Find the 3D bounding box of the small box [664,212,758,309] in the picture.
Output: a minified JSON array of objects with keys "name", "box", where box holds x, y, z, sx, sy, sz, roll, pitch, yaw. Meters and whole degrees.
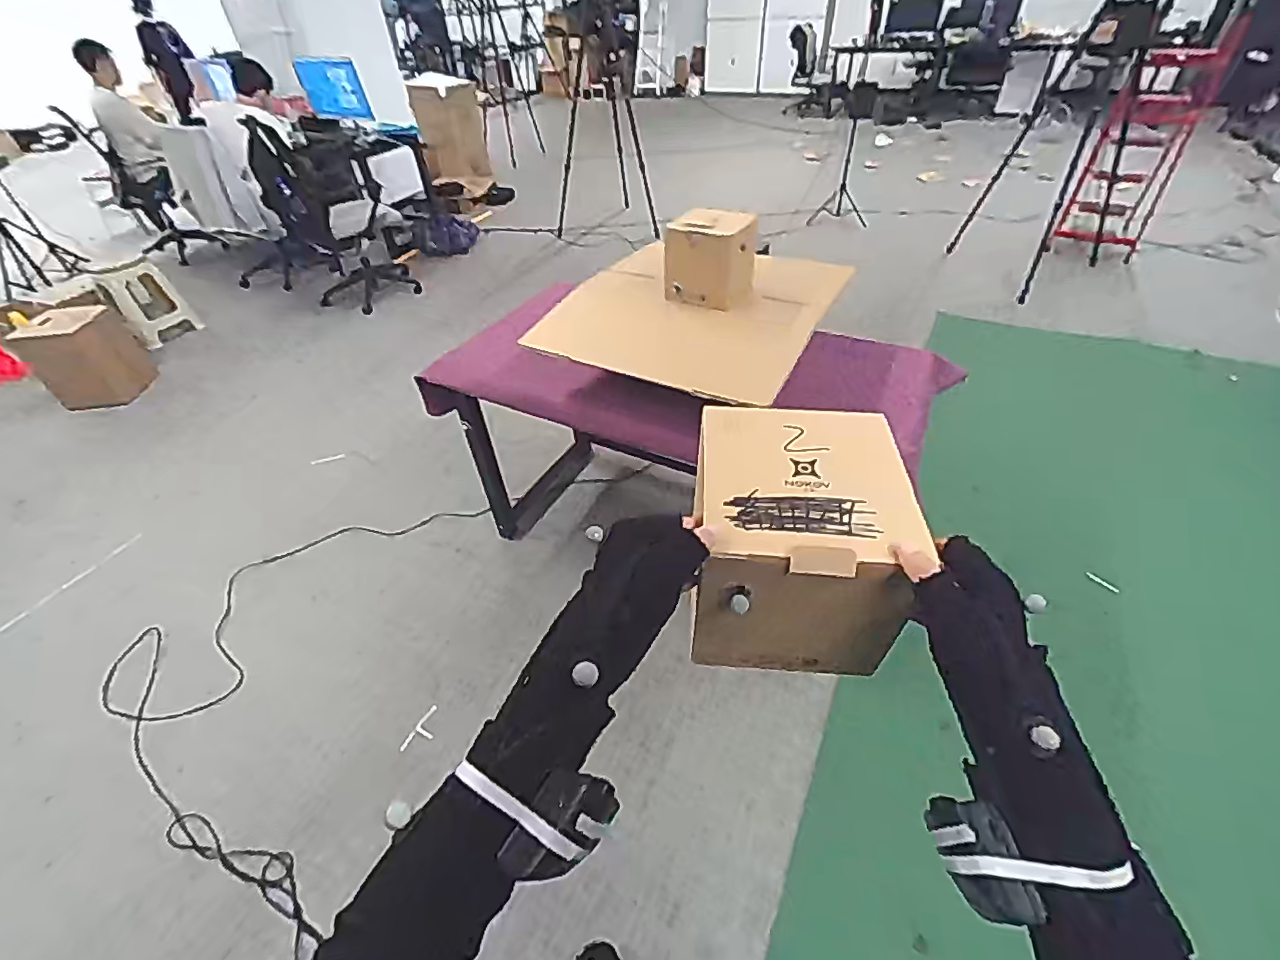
[{"name":"small box","box":[0.170,-0.527,1.298,0.168,0.176,0.179,19,44,23]}]
